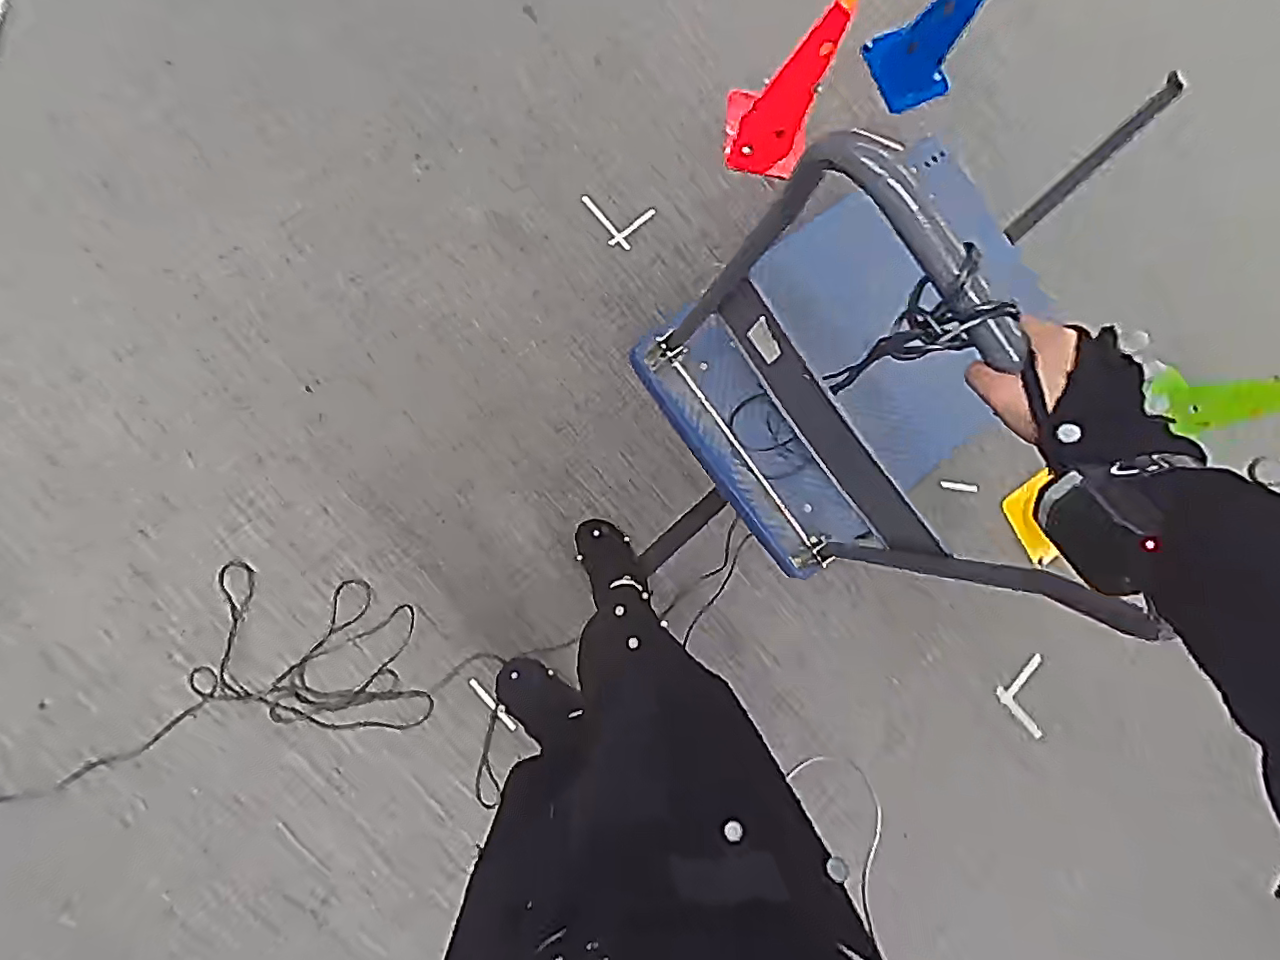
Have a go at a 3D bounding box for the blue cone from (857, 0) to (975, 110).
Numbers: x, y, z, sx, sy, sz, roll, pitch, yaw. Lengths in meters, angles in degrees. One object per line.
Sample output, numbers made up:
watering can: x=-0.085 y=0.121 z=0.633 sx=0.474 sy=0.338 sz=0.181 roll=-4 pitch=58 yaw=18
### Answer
blue cone: x=0.699 y=-1.072 z=1.232 sx=0.192 sy=0.380 sz=0.193 roll=-26 pitch=91 yaw=-10

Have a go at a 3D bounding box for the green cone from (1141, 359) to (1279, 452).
green cone: x=1.505 y=-0.212 z=1.312 sx=0.200 sy=0.368 sz=0.202 roll=36 pitch=82 yaw=-6

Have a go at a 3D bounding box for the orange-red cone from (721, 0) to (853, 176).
orange-red cone: x=0.330 y=-0.848 z=1.132 sx=0.199 sy=0.360 sz=0.198 roll=5 pitch=86 yaw=-12
